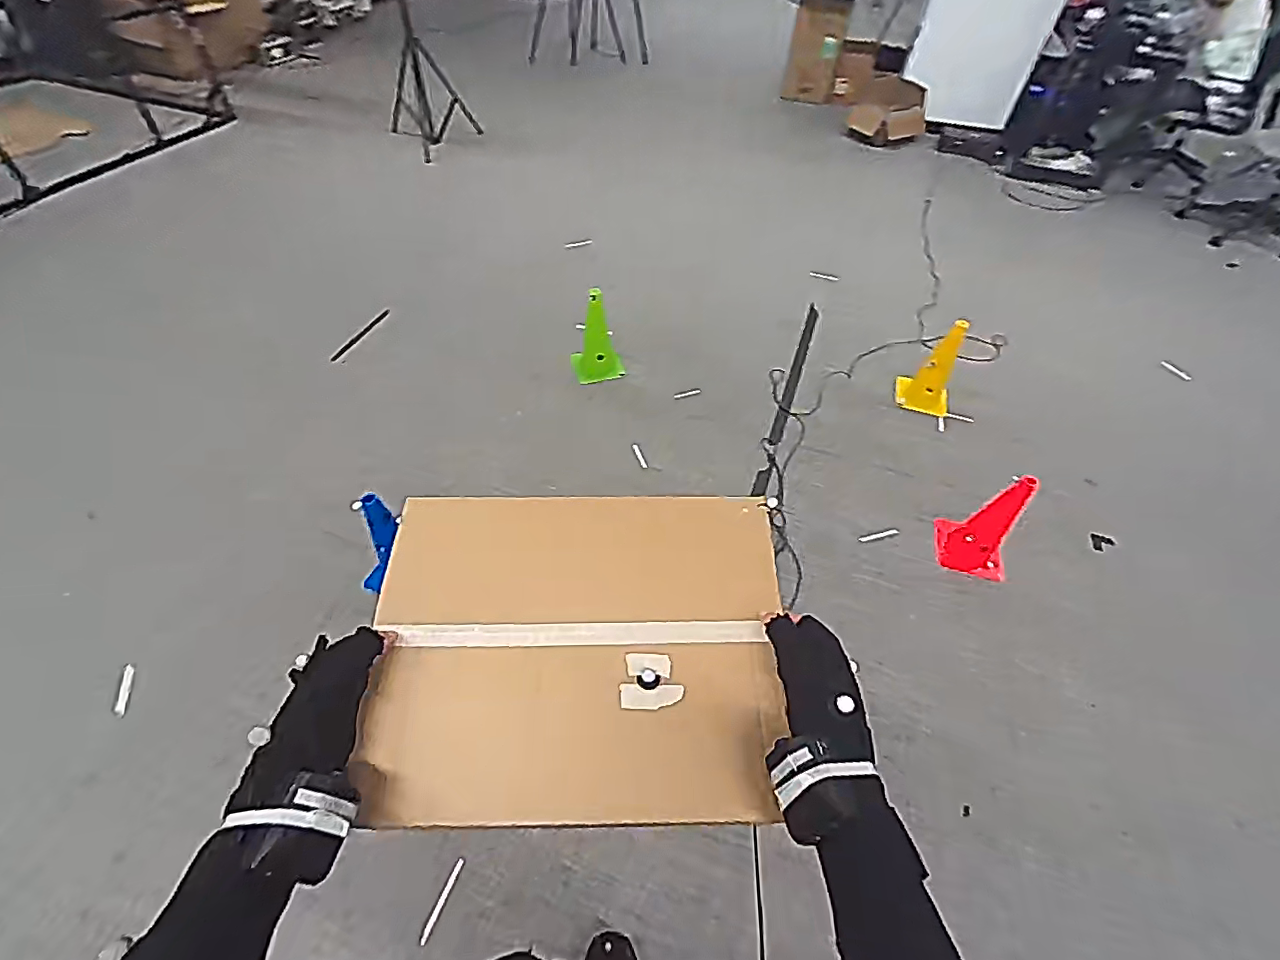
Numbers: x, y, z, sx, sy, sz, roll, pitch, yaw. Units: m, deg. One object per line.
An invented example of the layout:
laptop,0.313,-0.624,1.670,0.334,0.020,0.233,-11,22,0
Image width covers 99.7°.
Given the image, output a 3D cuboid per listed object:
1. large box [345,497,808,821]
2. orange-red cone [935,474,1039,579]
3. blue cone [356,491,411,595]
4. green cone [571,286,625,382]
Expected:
large box,-0.058,0.231,0.663,0.408,0.320,0.320,1,58,-1
orange-red cone,1.077,0.108,1.633,0.198,0.360,0.199,16,50,9
blue cone,-0.709,0.165,1.530,0.192,0.380,0.193,19,52,14
green cone,-0.177,-0.606,2.166,0.202,0.368,0.200,-13,52,-11
